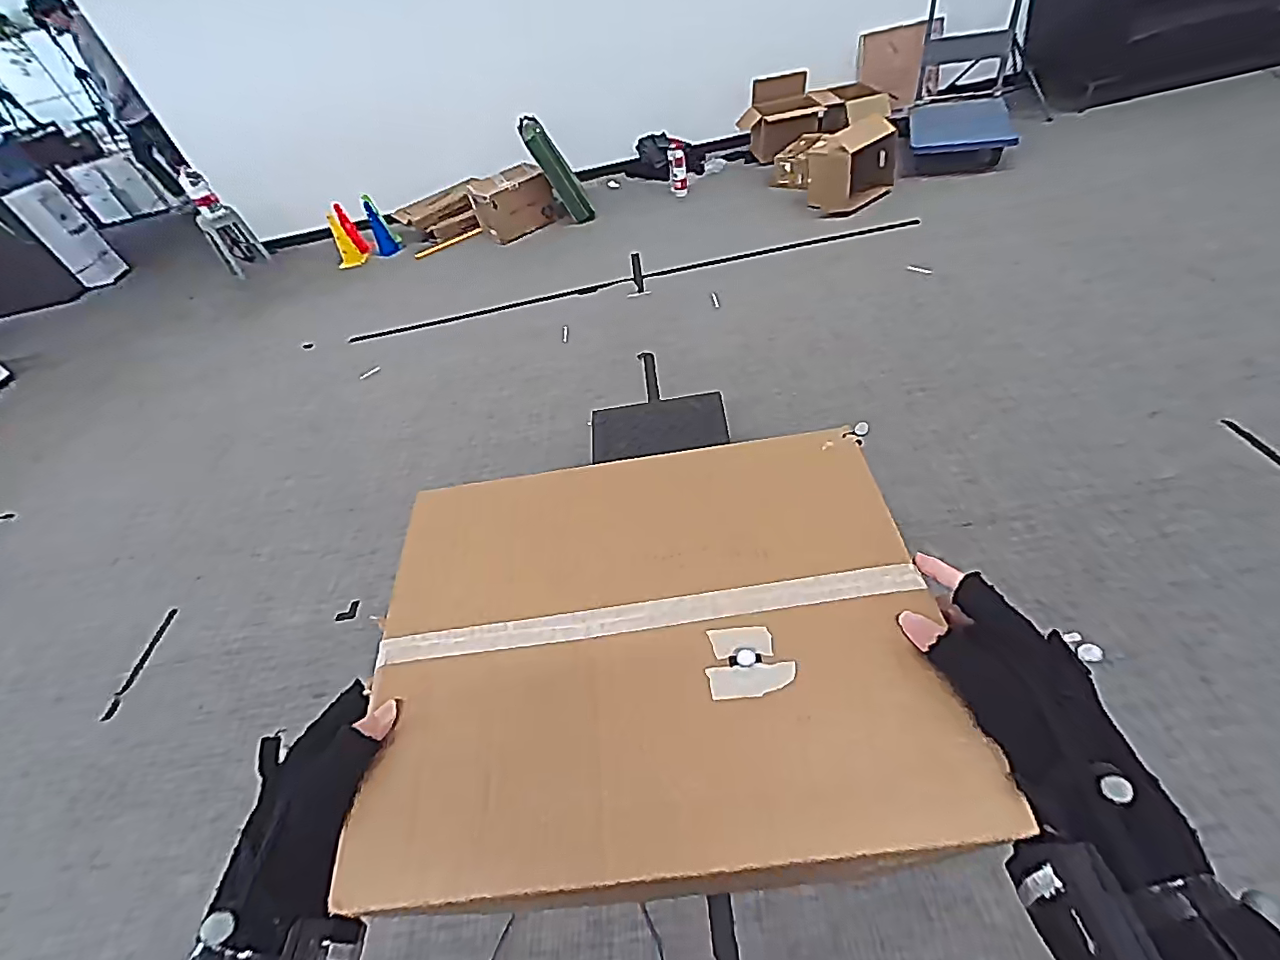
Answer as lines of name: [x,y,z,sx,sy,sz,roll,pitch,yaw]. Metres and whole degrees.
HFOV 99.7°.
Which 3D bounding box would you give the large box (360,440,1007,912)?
large box: [0.026,0.203,0.531,0.408,0.320,0.320,-8,51,2]
